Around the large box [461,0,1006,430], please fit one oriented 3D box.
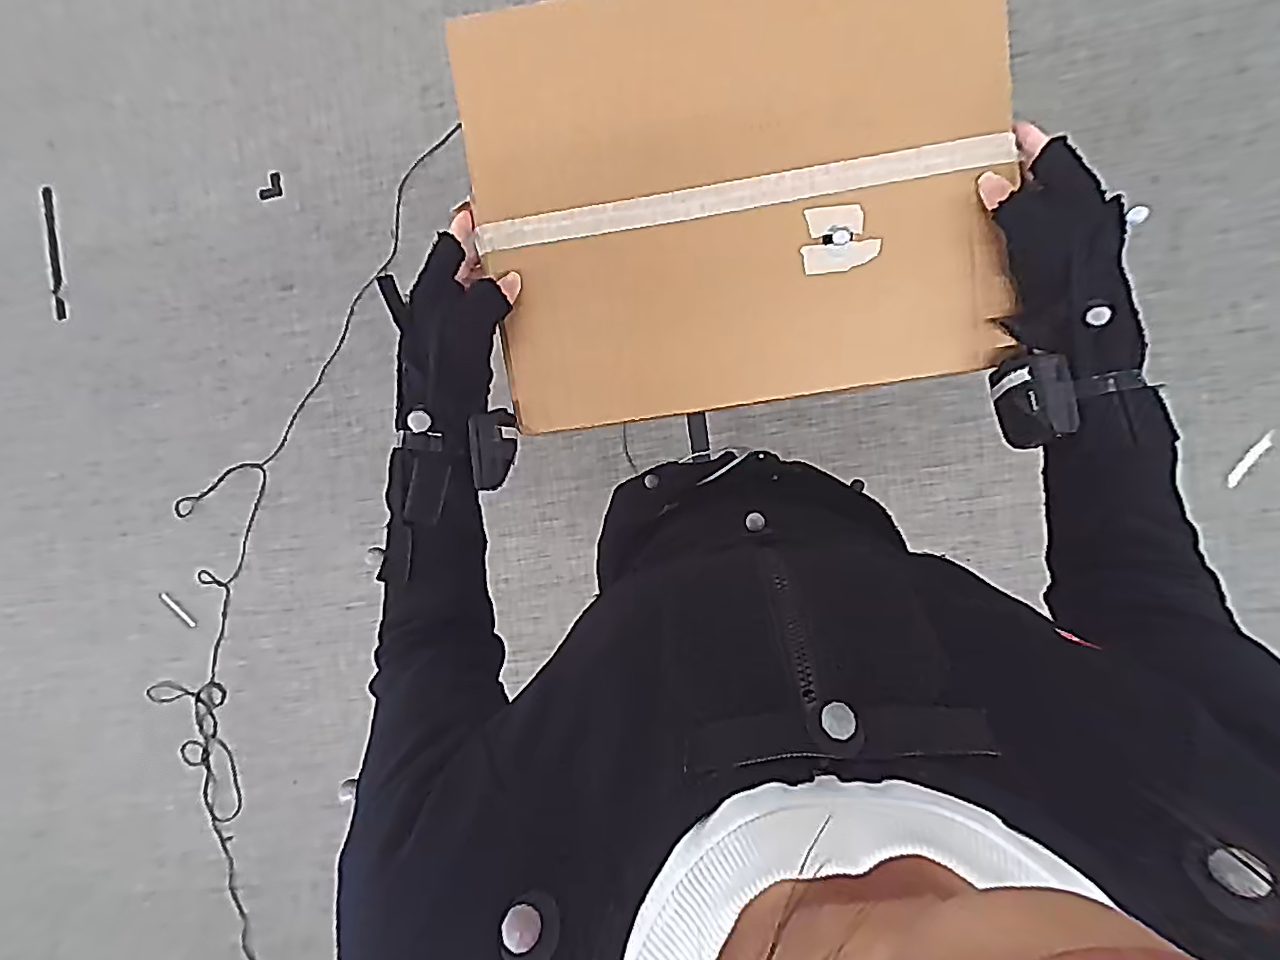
[{"bbox_3d":[0.081,-0.240,0.575,0.408,0.320,0.320,-8,98,3],"label":"large box"}]
